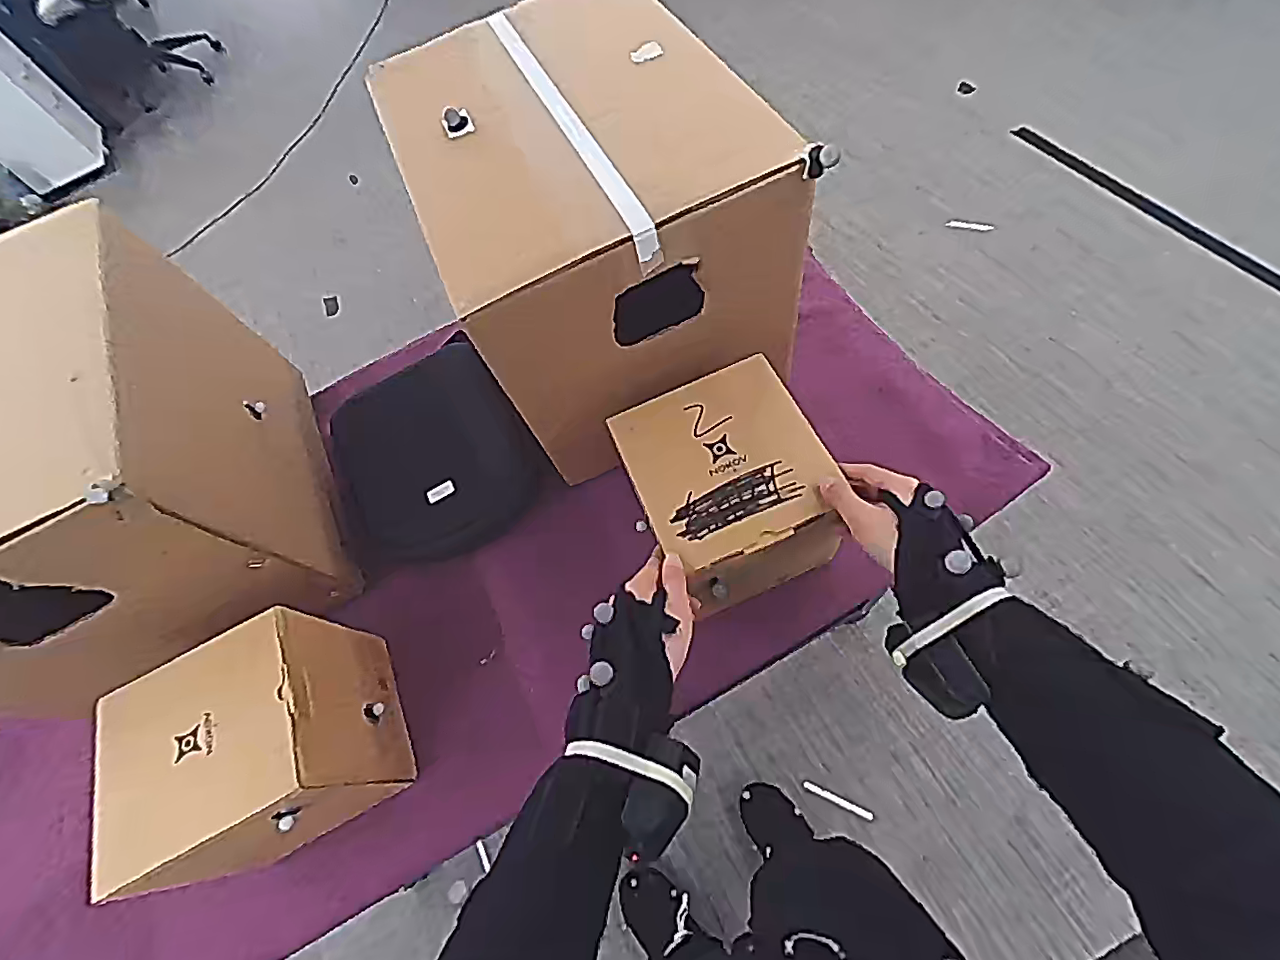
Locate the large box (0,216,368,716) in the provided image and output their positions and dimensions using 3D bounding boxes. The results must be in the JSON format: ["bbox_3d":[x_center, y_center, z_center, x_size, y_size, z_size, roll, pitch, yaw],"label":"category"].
[{"bbox_3d":[-0.583,0.001,0.614,0.320,0.320,0.408,-31,65,-5],"label":"large box"}]
